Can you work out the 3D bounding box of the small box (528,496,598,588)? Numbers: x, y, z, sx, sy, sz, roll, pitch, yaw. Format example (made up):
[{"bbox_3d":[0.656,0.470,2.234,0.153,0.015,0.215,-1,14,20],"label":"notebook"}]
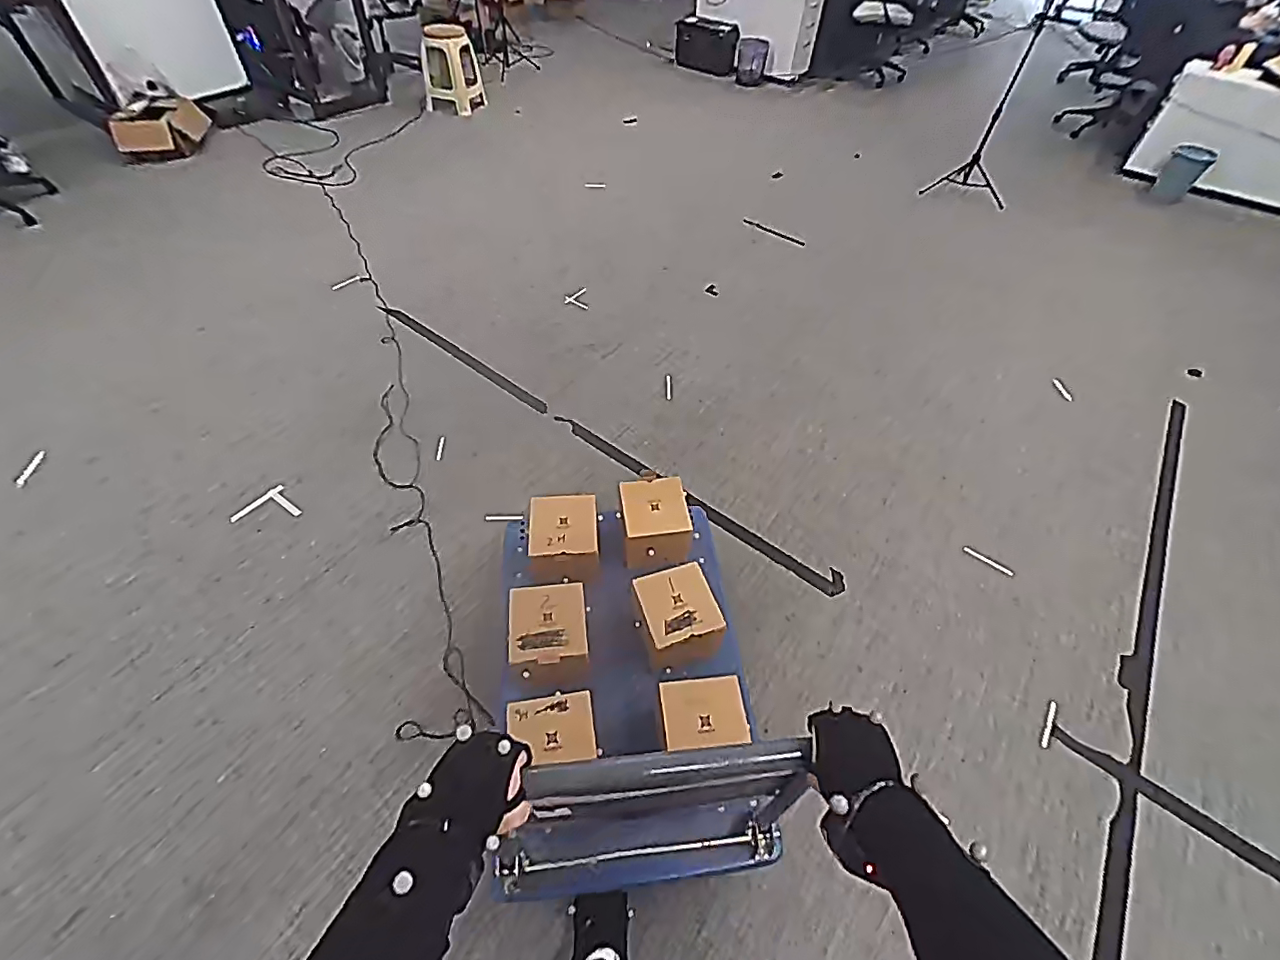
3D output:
[{"bbox_3d":[-0.195,0.161,1.399,0.168,0.176,0.179,-3,52,-5],"label":"small box"}]

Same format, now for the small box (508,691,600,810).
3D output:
[{"bbox_3d":[-0.170,0.548,1.087,0.168,0.176,0.179,-6,52,-9],"label":"small box"}]

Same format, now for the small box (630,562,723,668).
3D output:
[{"bbox_3d":[0.080,0.327,1.281,0.168,0.176,0.179,-14,52,-14],"label":"small box"}]

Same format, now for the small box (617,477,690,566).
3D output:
[{"bbox_3d":[0.030,0.117,1.449,0.168,0.176,0.179,-6,52,-8],"label":"small box"}]

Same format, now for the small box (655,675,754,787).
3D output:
[{"bbox_3d":[0.125,0.526,1.124,0.168,0.176,0.179,-3,51,-6],"label":"small box"}]
